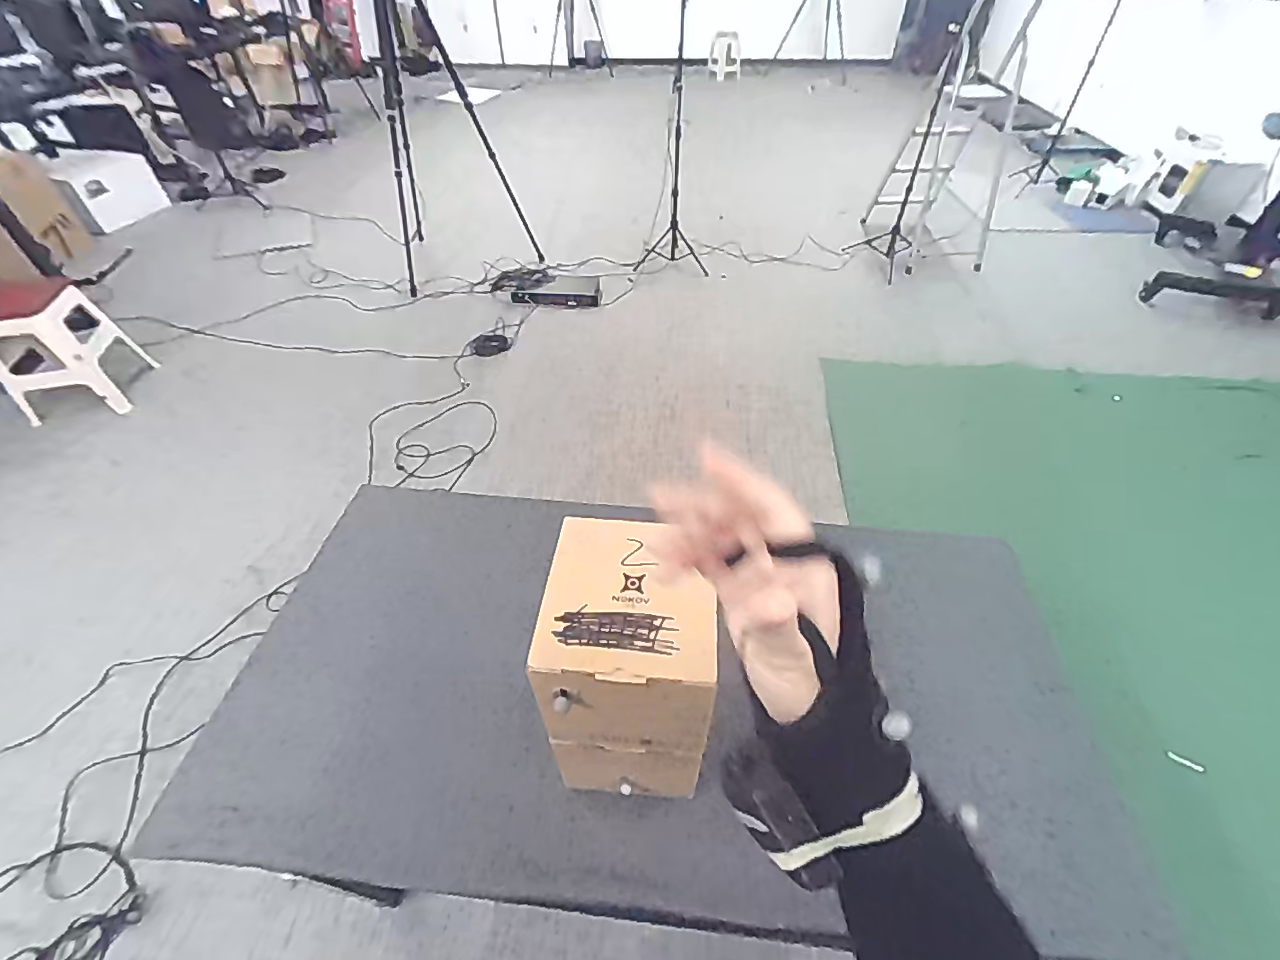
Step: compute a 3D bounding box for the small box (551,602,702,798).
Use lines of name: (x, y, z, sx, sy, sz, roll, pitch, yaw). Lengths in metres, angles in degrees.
small box: (-0.010, 0.282, 0.695, 0.168, 0.176, 0.179, 3, 46, 3)
